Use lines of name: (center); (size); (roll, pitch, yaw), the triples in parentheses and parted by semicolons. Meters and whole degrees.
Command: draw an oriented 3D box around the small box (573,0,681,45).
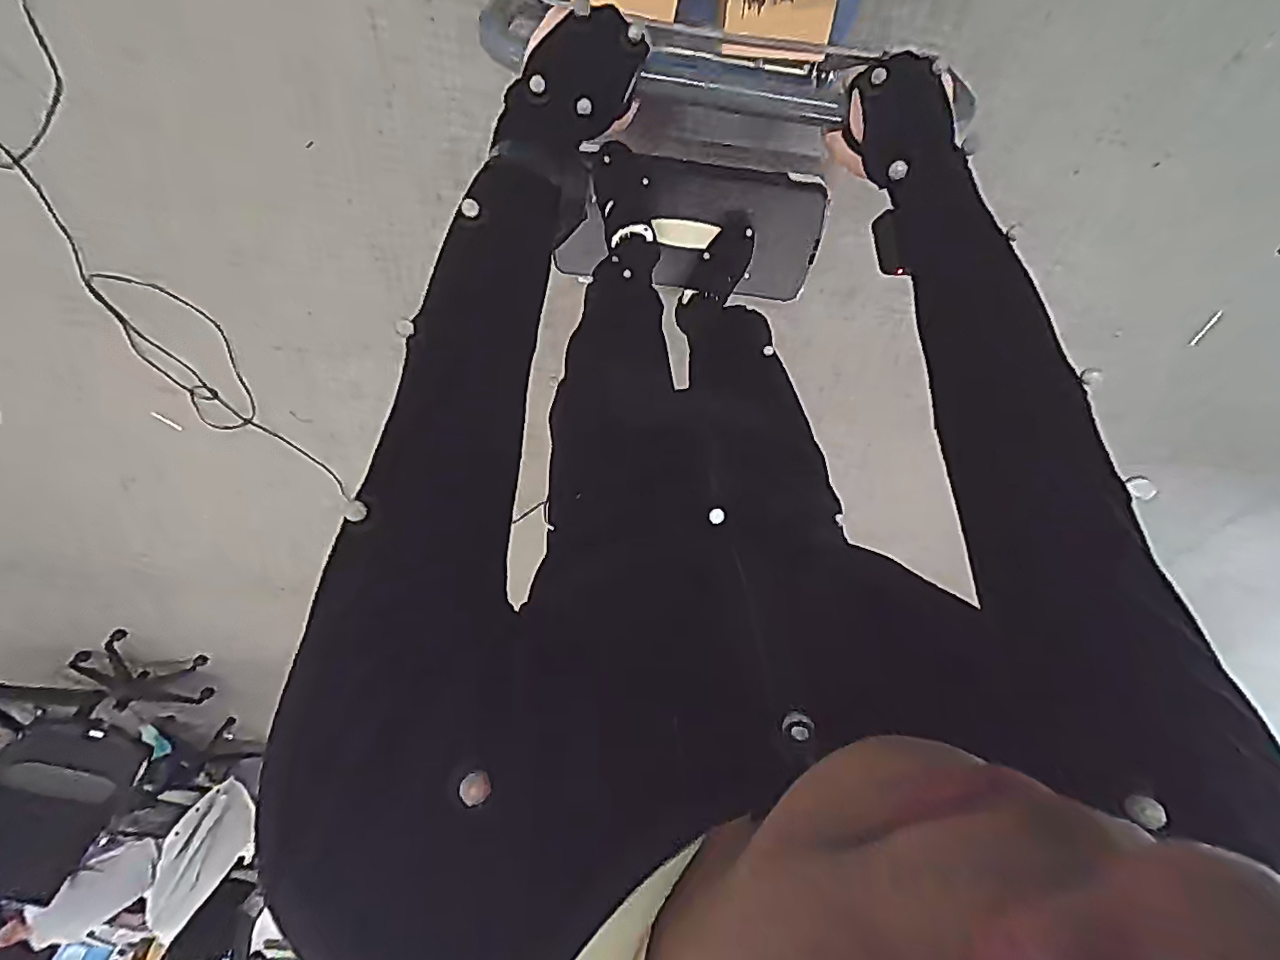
small box: (-0.009, -0.840, 0.873); (0.168, 0.176, 0.179); (10, 131, -9)

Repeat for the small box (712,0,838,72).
small box: (0.222, -0.798, 0.903); (0.179, 0.176, 0.168); (3, 131, -3)
